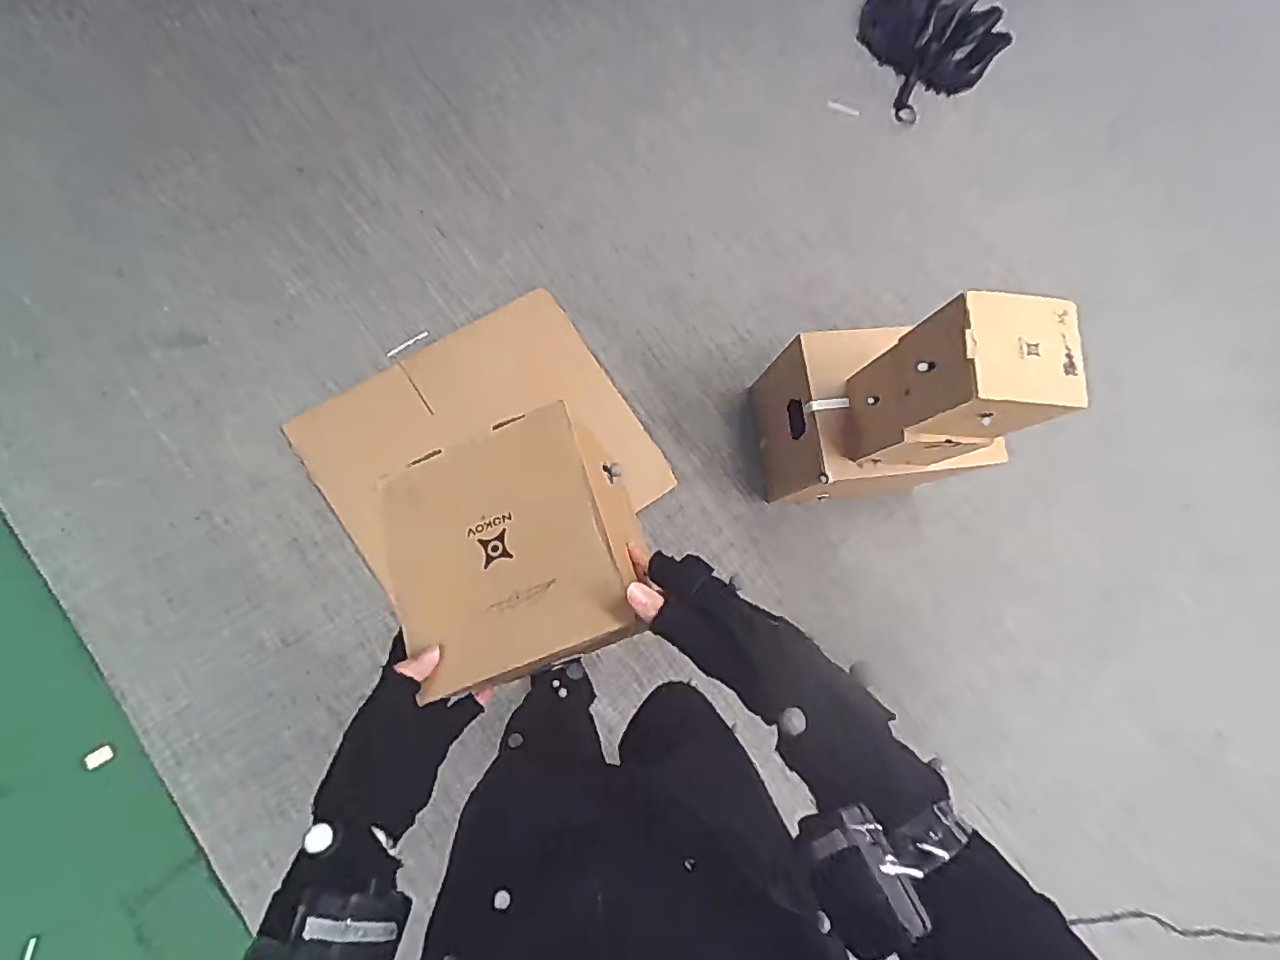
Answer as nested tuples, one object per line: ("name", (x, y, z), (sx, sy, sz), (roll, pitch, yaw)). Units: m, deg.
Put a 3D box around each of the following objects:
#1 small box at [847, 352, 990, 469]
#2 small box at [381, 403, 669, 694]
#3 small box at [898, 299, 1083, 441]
("small box", (0.505, -0.120, 1.003), (0.168, 0.176, 0.179), (1, 78, -7))
("small box", (-0.088, 0.067, 0.473), (0.168, 0.176, 0.179), (-24, 72, 5))
("small box", (0.530, -0.163, 0.849), (0.179, 0.176, 0.168), (0, 77, -8))
